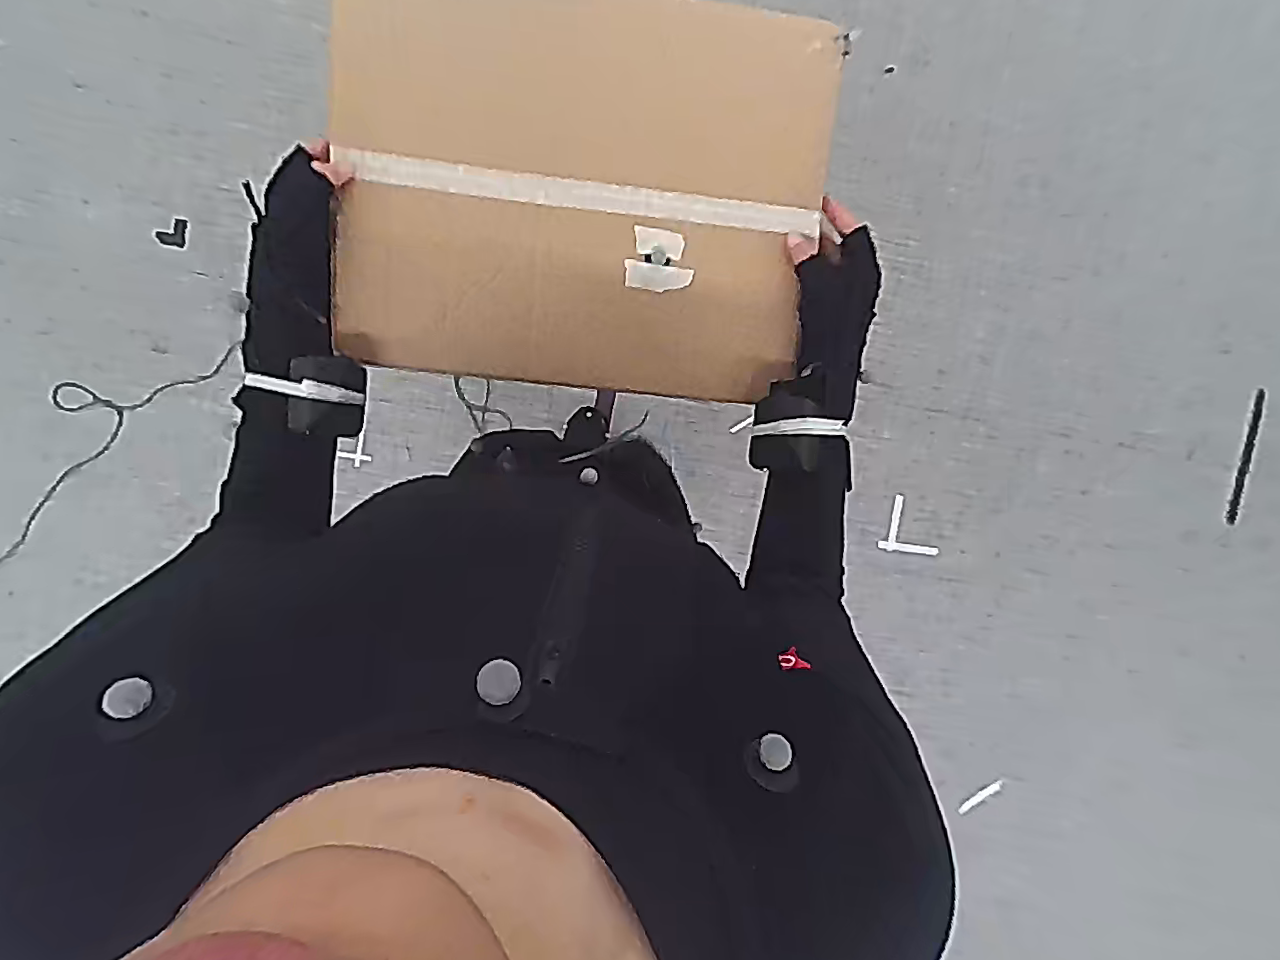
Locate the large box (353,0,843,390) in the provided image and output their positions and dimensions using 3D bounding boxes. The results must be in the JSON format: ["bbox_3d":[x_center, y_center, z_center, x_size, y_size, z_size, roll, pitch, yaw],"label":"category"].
[{"bbox_3d":[-0.052,-0.277,0.608,0.408,0.320,0.320,5,102,-6],"label":"large box"}]
